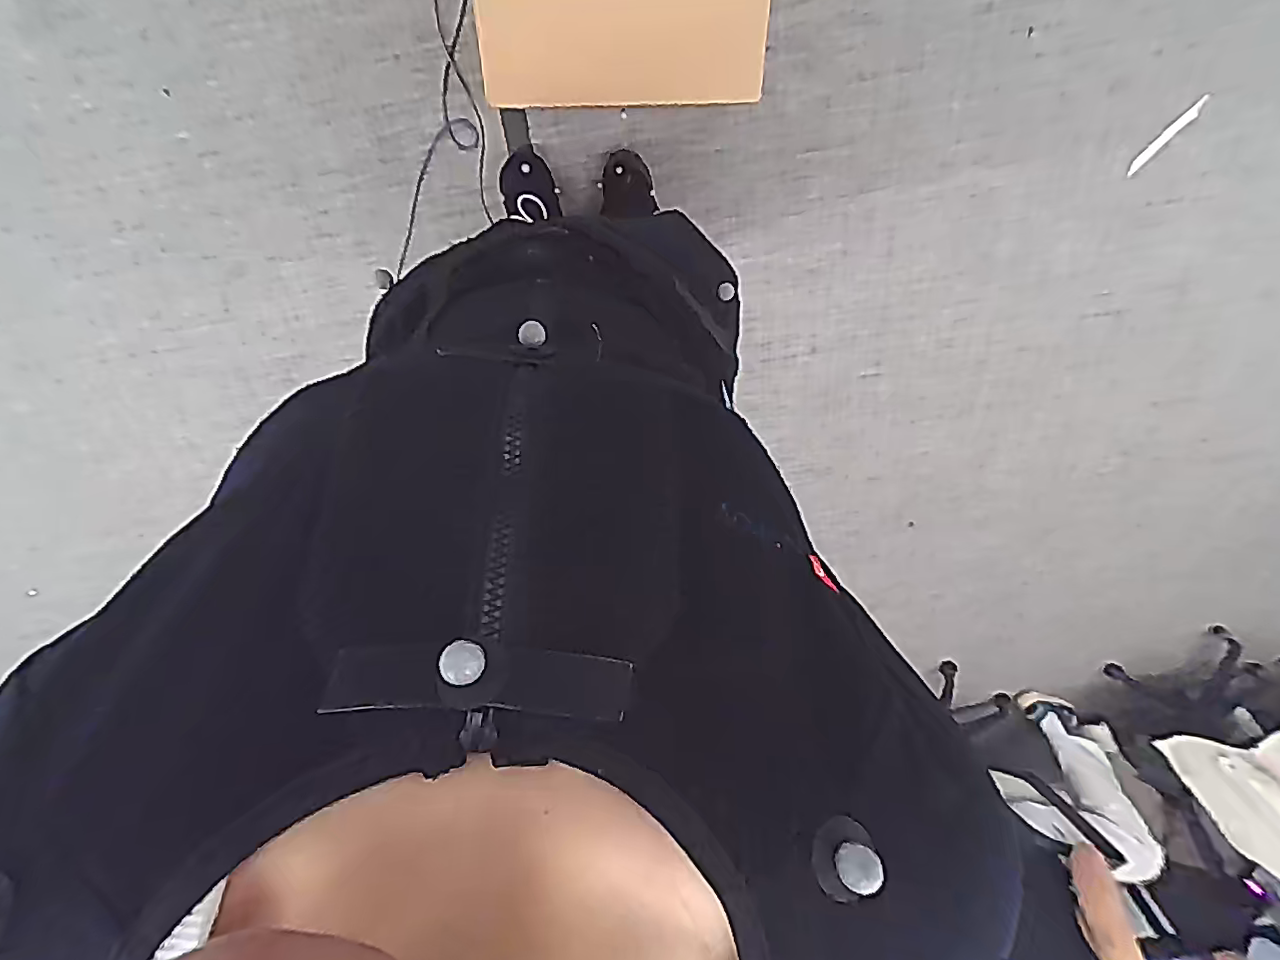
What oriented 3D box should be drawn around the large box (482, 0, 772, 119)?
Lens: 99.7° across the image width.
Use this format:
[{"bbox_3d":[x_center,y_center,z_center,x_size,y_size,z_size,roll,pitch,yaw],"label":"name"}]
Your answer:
[{"bbox_3d":[-0.026,-0.758,0.843,0.408,0.320,0.320,-2,125,-2],"label":"large box"}]
